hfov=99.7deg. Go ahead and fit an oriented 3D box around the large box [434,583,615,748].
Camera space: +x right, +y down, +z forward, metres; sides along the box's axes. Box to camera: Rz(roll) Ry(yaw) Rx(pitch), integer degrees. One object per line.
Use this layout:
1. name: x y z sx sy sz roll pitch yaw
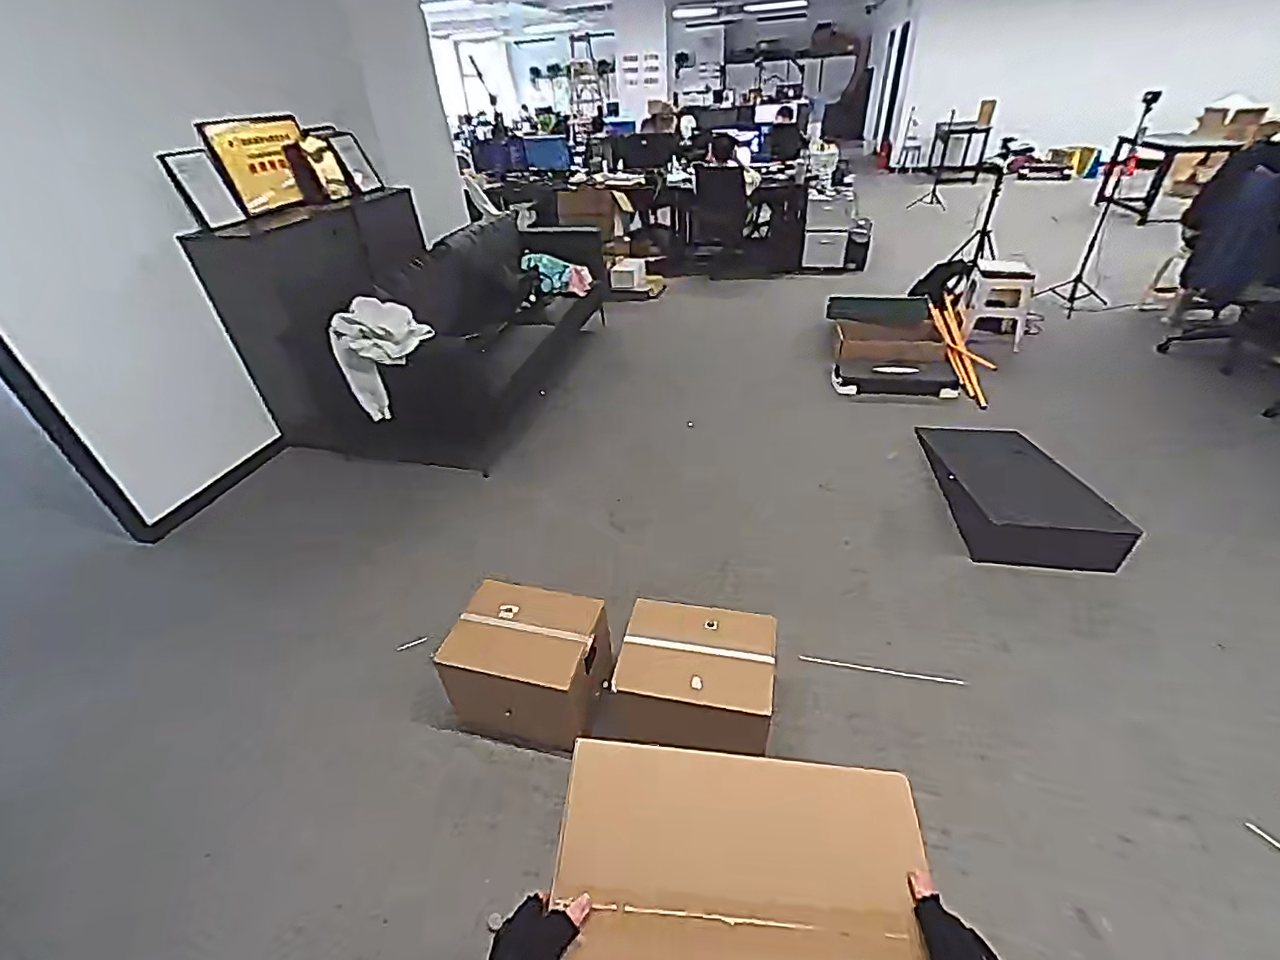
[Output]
1. large box: -0.318 0.547 1.620 0.408 0.320 0.320 5 36 15
